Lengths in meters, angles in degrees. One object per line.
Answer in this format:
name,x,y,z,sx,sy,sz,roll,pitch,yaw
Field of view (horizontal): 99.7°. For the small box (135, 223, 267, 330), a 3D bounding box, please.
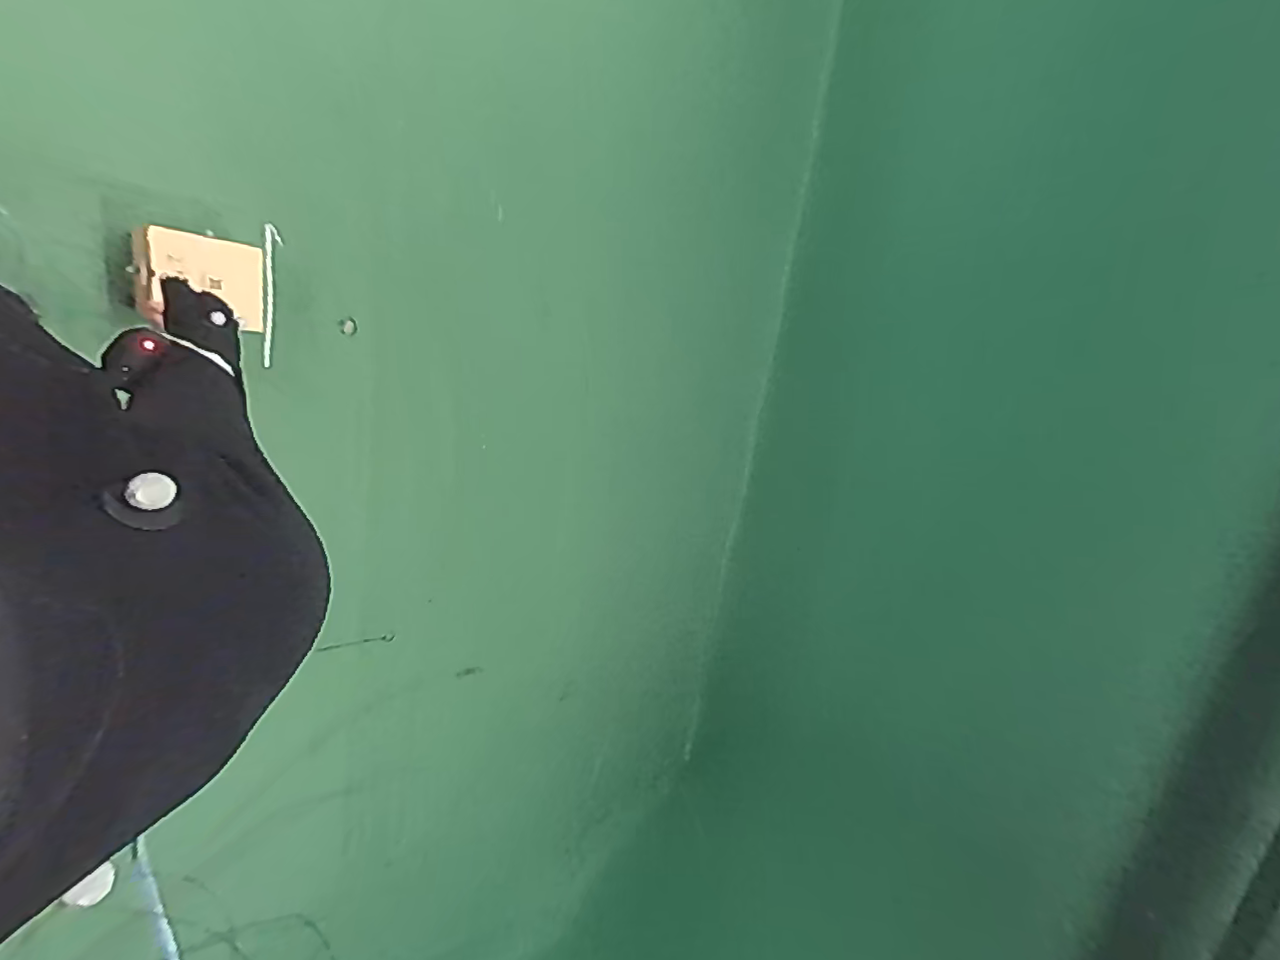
small box,-0.874,-0.404,1.079,0.179,0.176,0.168,-6,110,-50
